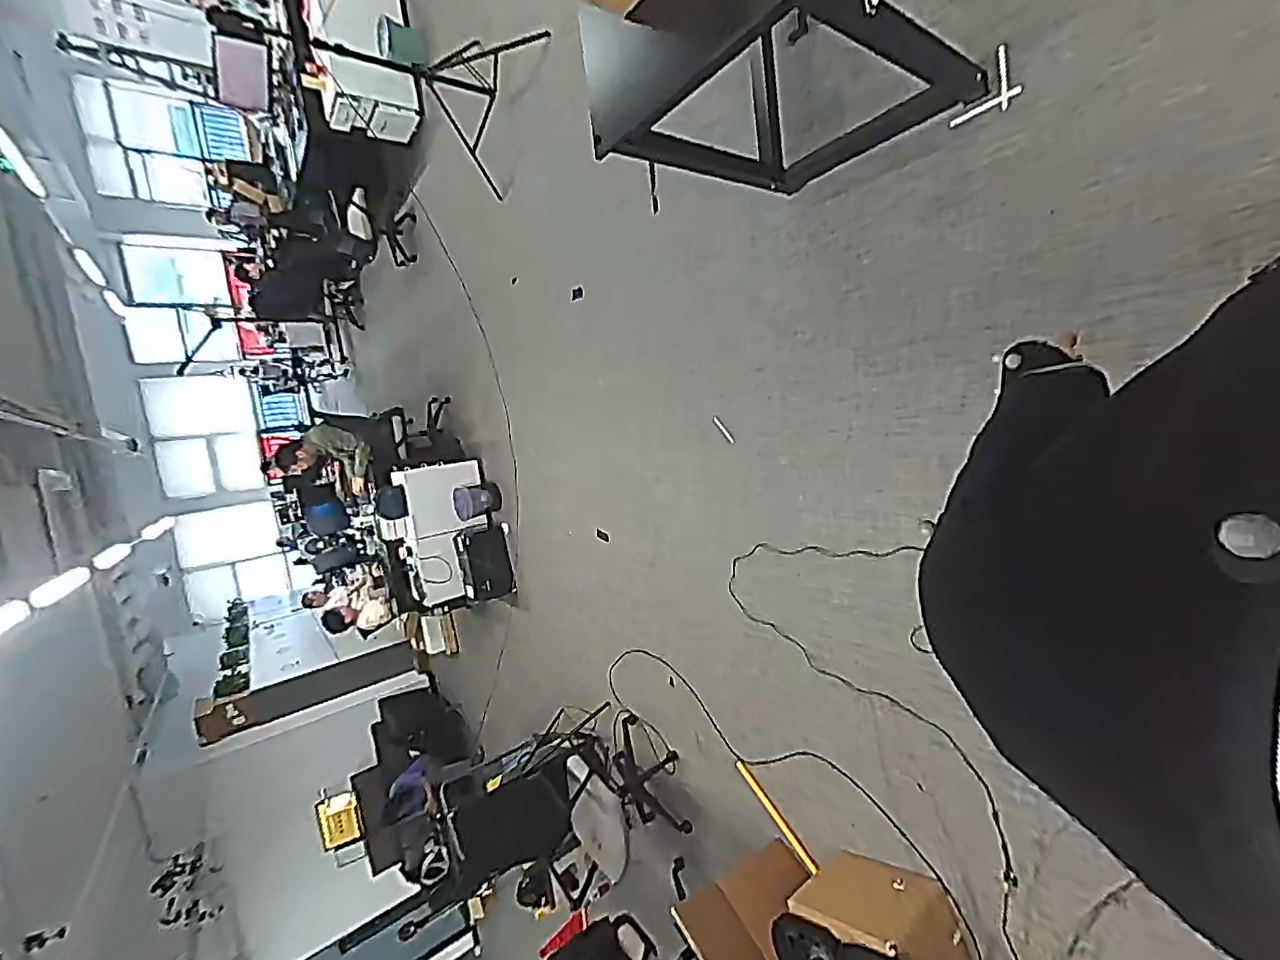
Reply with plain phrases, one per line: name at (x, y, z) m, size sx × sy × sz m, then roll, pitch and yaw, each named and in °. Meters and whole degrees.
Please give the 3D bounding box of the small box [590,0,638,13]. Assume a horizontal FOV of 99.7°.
small box at (-0.052, -1.049, 1.024) m, size 0.179 × 0.176 × 0.168 m, roll 7°, pitch 104°, yaw 53°
